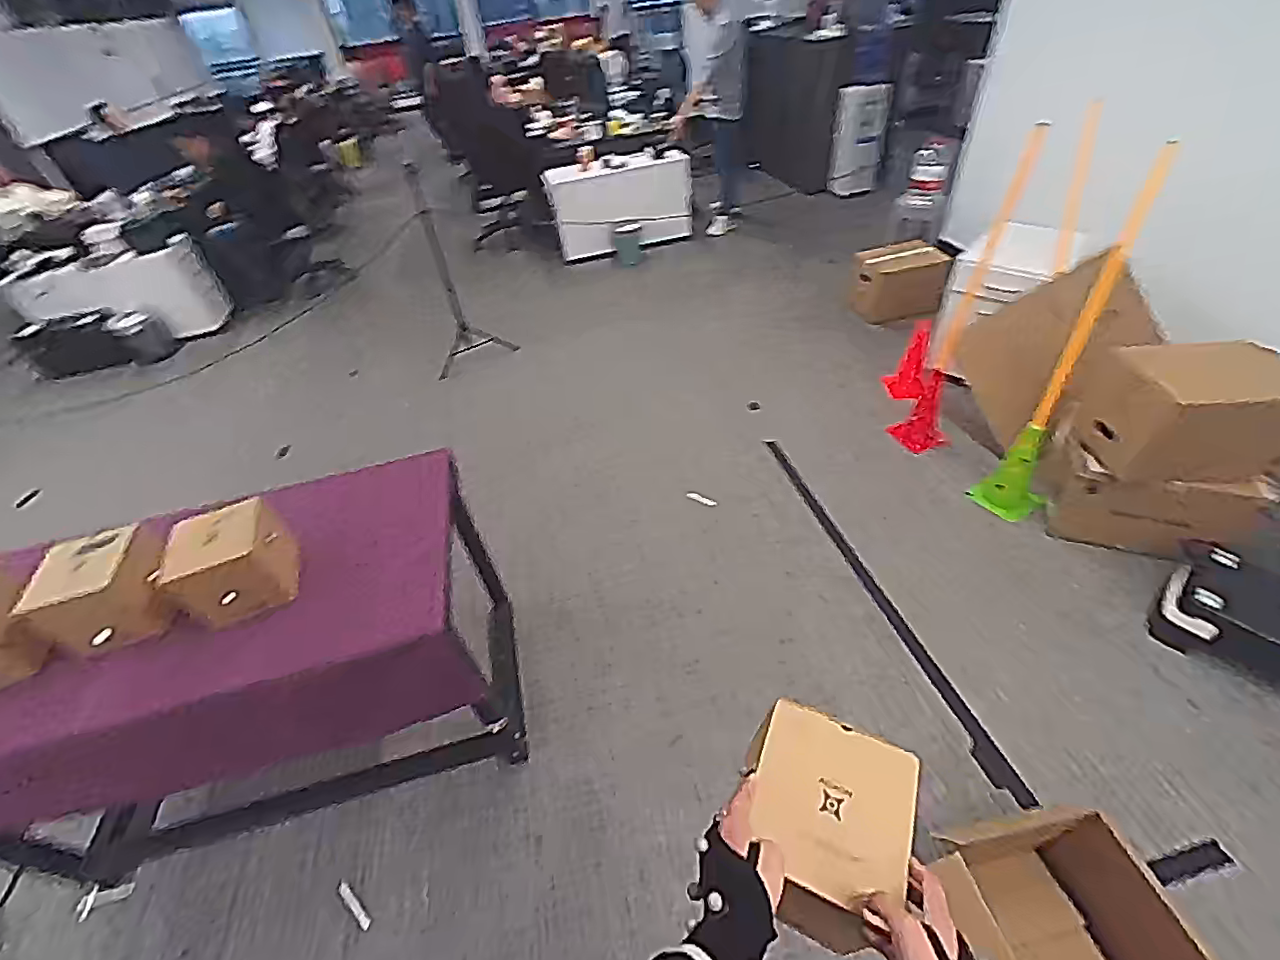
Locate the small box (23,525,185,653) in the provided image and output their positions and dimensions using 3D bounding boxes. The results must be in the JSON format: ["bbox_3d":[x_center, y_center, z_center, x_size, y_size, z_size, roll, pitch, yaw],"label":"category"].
[{"bbox_3d":[-1.101,0.230,1.141,0.168,0.176,0.179,-17,45,-9],"label":"small box"}]

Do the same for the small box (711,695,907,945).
[{"bbox_3d":[0.192,0.397,0.636,0.168,0.176,0.179,19,46,15],"label":"small box"}]

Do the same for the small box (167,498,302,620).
[{"bbox_3d":[-0.853,0.176,1.159,0.168,0.176,0.179,-20,44,-13],"label":"small box"}]
